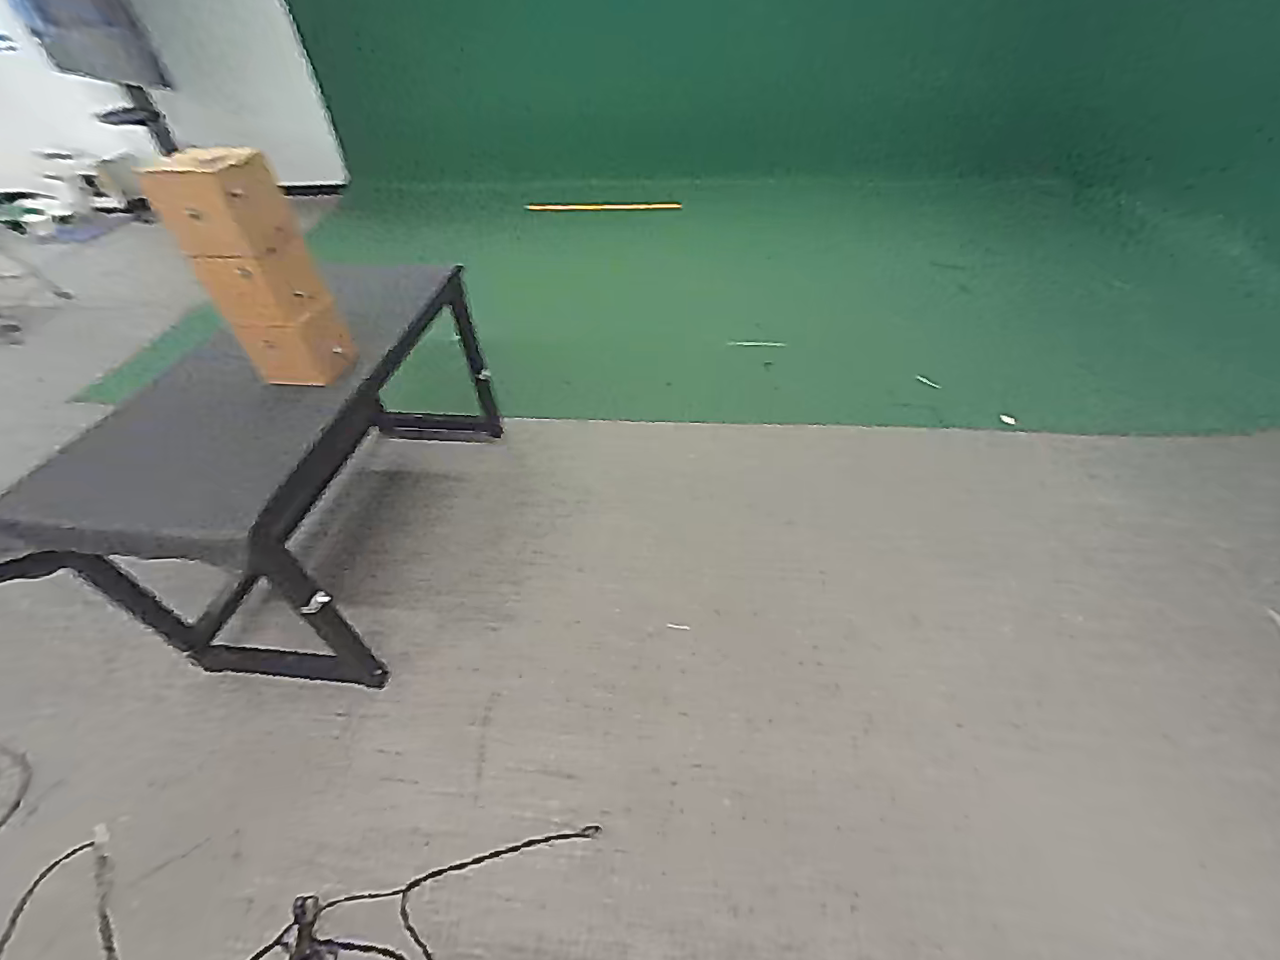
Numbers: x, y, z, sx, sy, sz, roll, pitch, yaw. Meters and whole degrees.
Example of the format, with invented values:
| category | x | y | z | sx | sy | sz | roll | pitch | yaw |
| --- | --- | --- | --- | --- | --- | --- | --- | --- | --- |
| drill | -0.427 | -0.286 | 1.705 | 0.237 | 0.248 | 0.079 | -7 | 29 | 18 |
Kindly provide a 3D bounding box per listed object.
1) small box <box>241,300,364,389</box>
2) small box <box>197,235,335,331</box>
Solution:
| category | x | y | z | sx | sy | sz | roll | pitch | yaw |
| --- | --- | --- | --- | --- | --- | --- | --- | --- | --- |
| small box | -0.863 | -0.351 | 1.402 | 0.179 | 0.176 | 0.168 | 3 | 45 | 8 |
| small box | -0.881 | -0.469 | 1.292 | 0.179 | 0.176 | 0.168 | 4 | 44 | 8 |
